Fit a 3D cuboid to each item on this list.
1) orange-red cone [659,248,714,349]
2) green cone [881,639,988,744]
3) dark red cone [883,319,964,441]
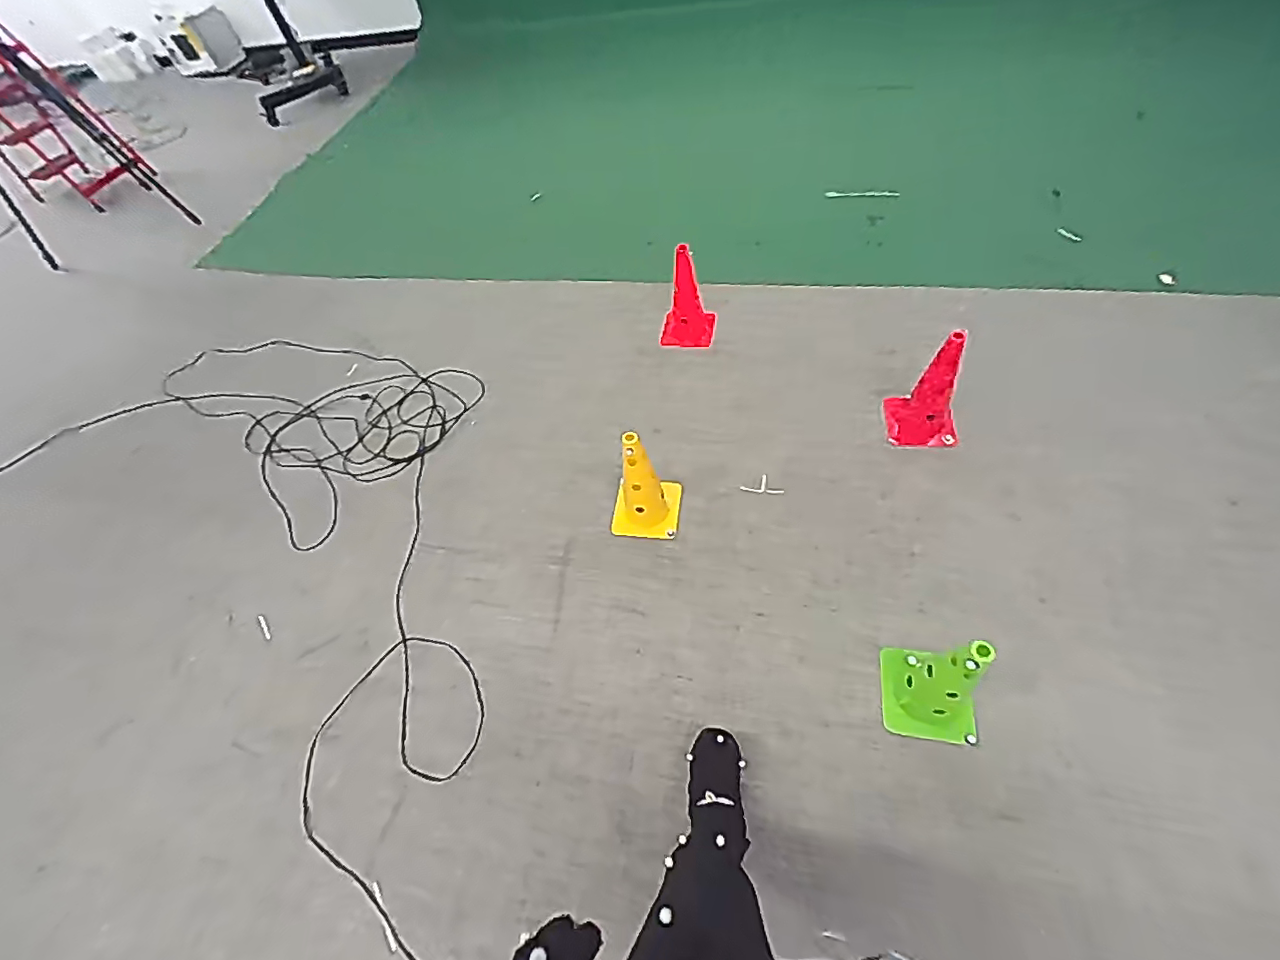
[{"bbox_3d":[0.157,-0.676,1.972,0.198,0.360,0.199,5,58,14],"label":"orange-red cone"},{"bbox_3d":[0.658,0.412,1.148,0.202,0.368,0.200,3,56,13],"label":"green cone"},{"bbox_3d":[0.858,-0.296,1.568,0.202,0.394,0.201,1,55,10],"label":"dark red cone"}]
